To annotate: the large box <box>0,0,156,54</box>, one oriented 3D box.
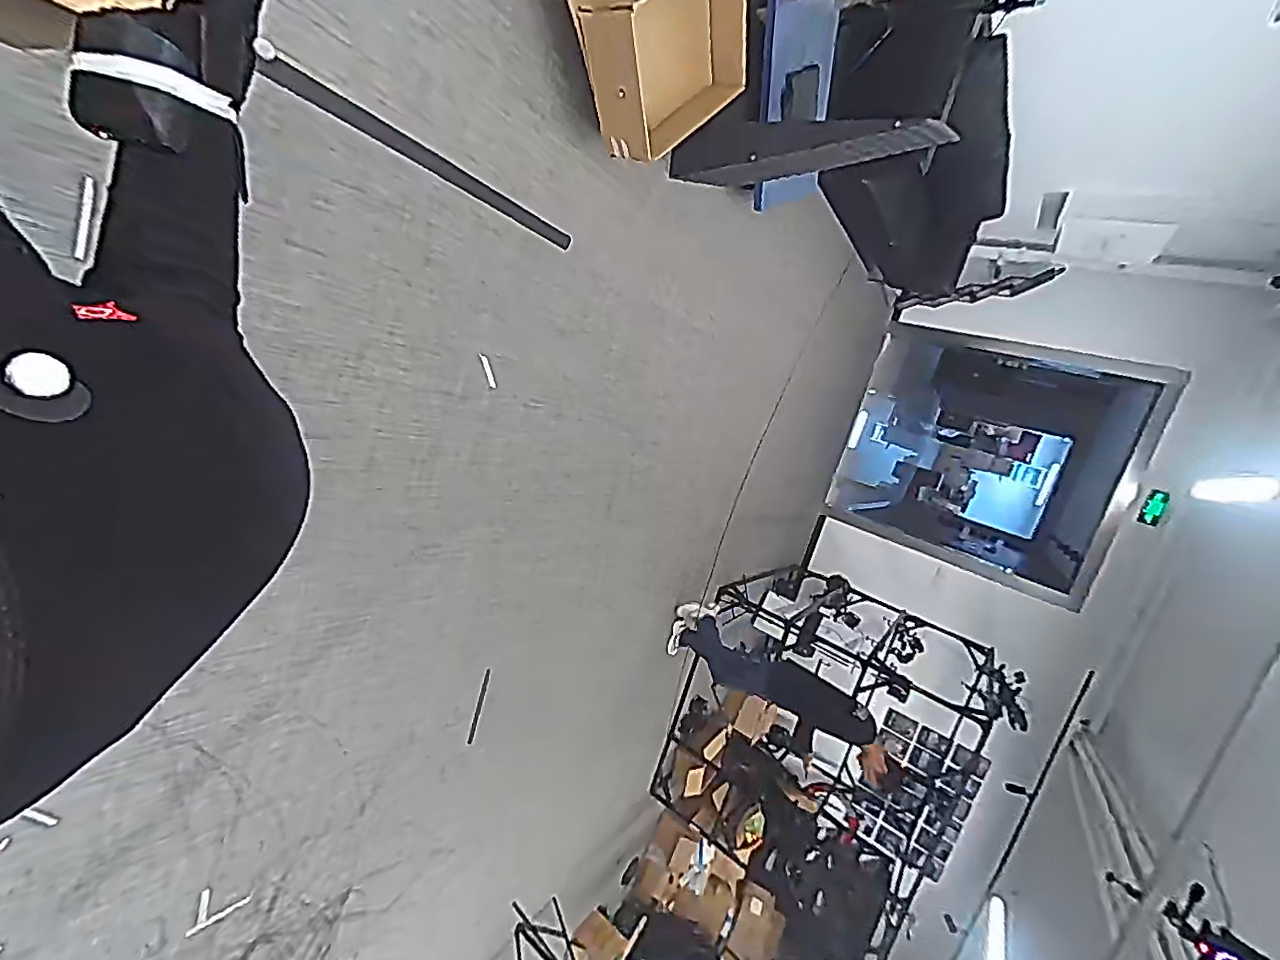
[{"bbox_3d":[-0.509,-0.455,0.219,0.408,0.320,0.320,-9,120,-59],"label":"large box"}]
